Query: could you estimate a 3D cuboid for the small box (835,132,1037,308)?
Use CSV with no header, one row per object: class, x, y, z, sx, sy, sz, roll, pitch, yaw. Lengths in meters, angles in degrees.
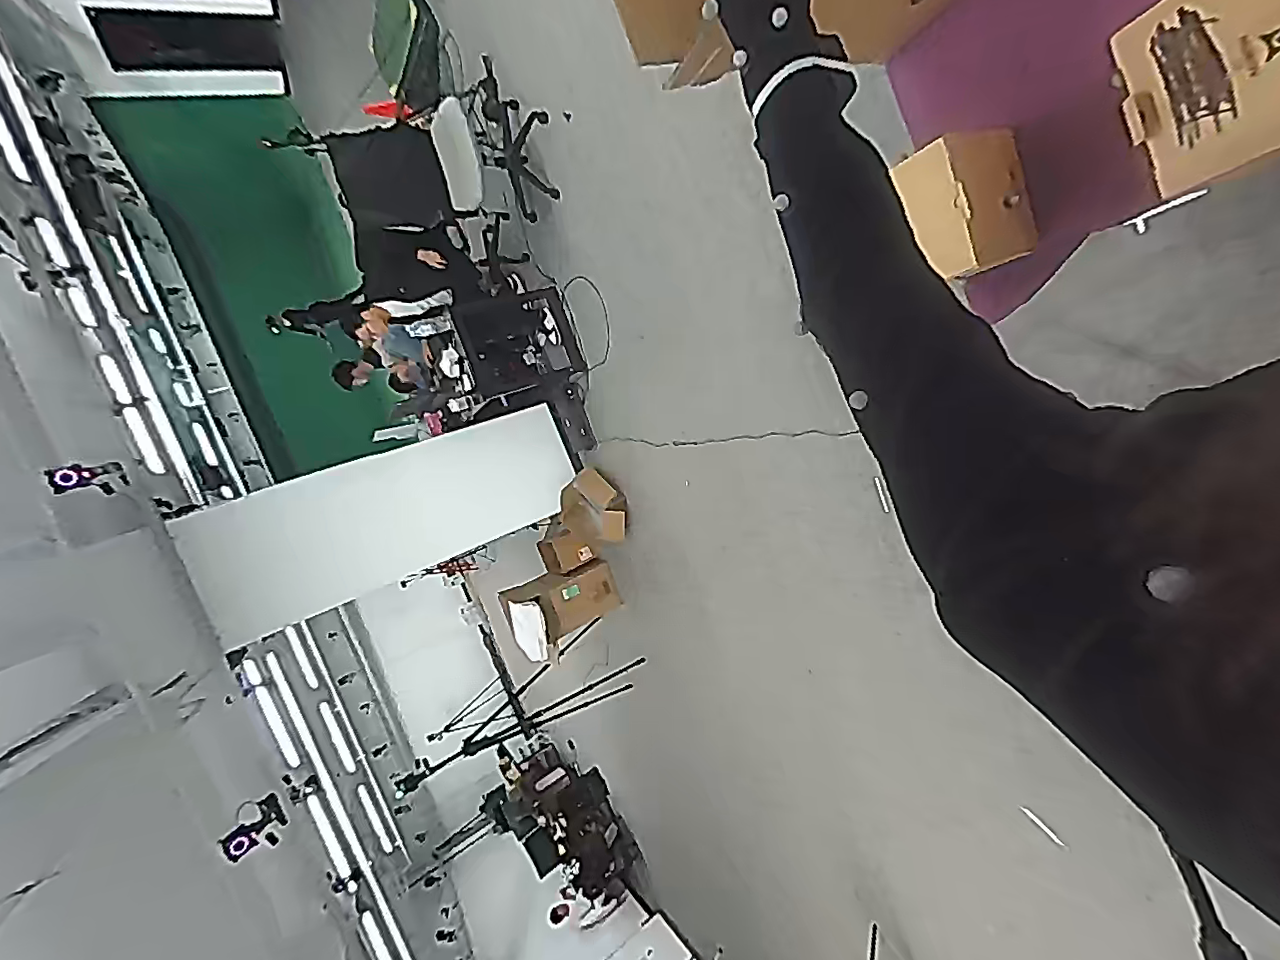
small box,0.423,-0.368,0.779,0.179,0.176,0.168,-8,103,60
